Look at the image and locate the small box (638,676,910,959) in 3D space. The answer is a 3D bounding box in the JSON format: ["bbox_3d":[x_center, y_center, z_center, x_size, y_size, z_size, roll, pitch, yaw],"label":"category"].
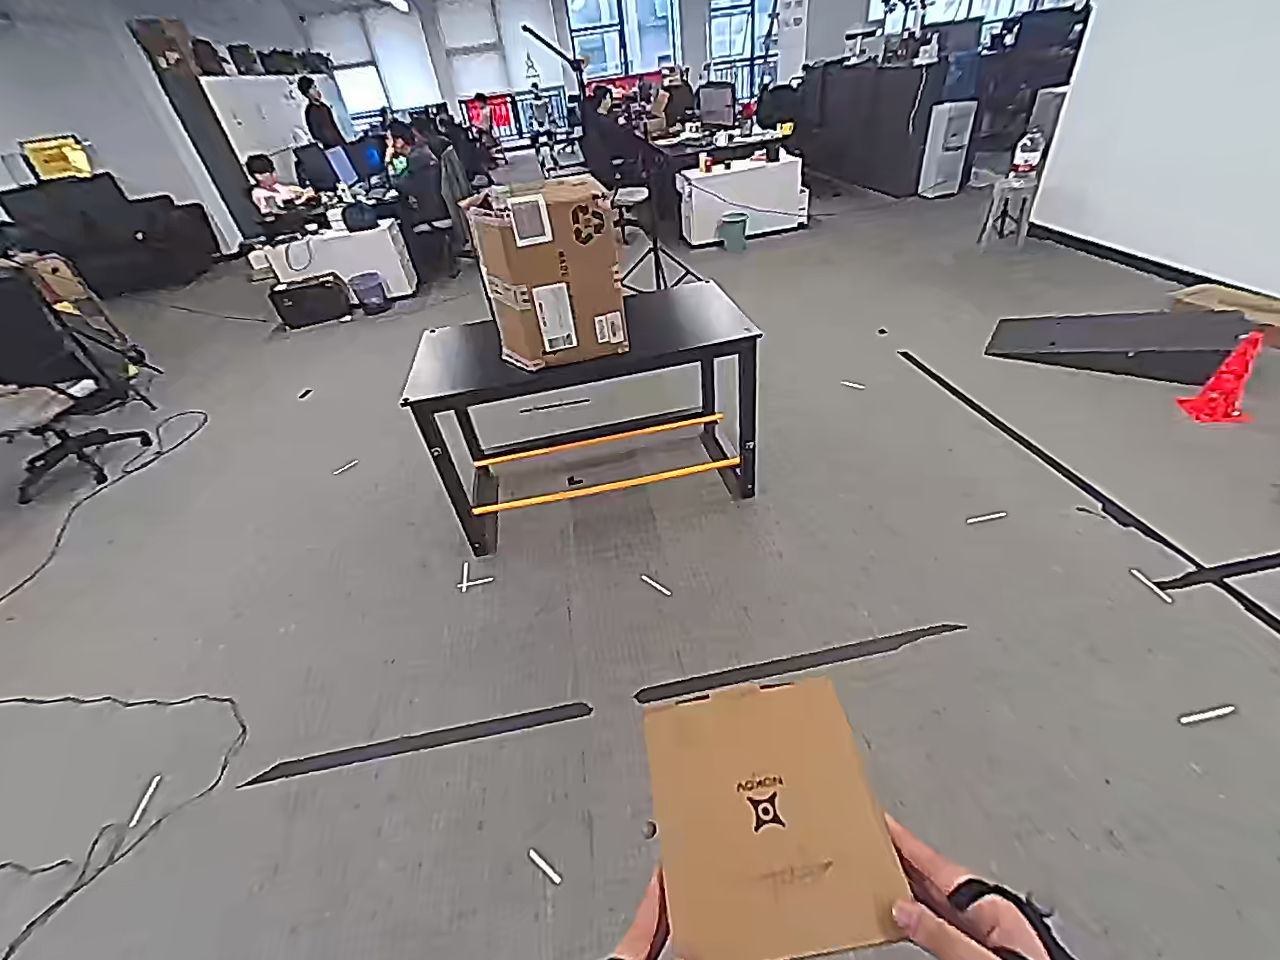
[{"bbox_3d":[0.094,0.297,0.468,0.168,0.176,0.179,-9,48,-1],"label":"small box"}]
